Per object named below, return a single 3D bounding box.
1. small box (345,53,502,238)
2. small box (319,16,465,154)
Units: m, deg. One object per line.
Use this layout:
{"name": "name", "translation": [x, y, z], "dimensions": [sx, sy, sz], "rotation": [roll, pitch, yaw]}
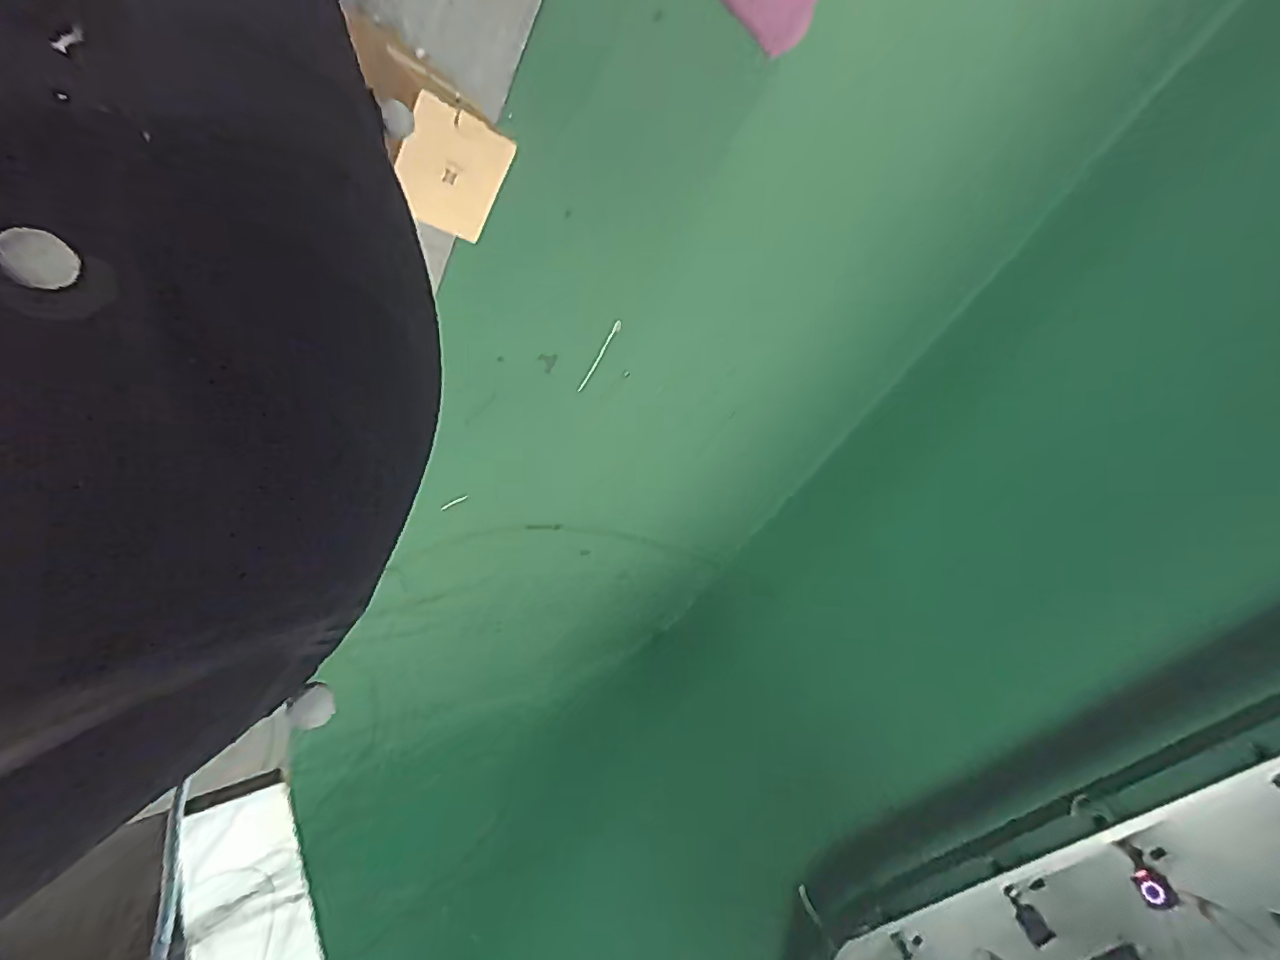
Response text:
{"name": "small box", "translation": [-0.362, -0.543, 0.888], "dimensions": [0.168, 0.176, 0.179], "rotation": [2, 132, -49]}
{"name": "small box", "translation": [-0.447, -0.661, 0.960], "dimensions": [0.168, 0.176, 0.179], "rotation": [4, 130, -50]}
